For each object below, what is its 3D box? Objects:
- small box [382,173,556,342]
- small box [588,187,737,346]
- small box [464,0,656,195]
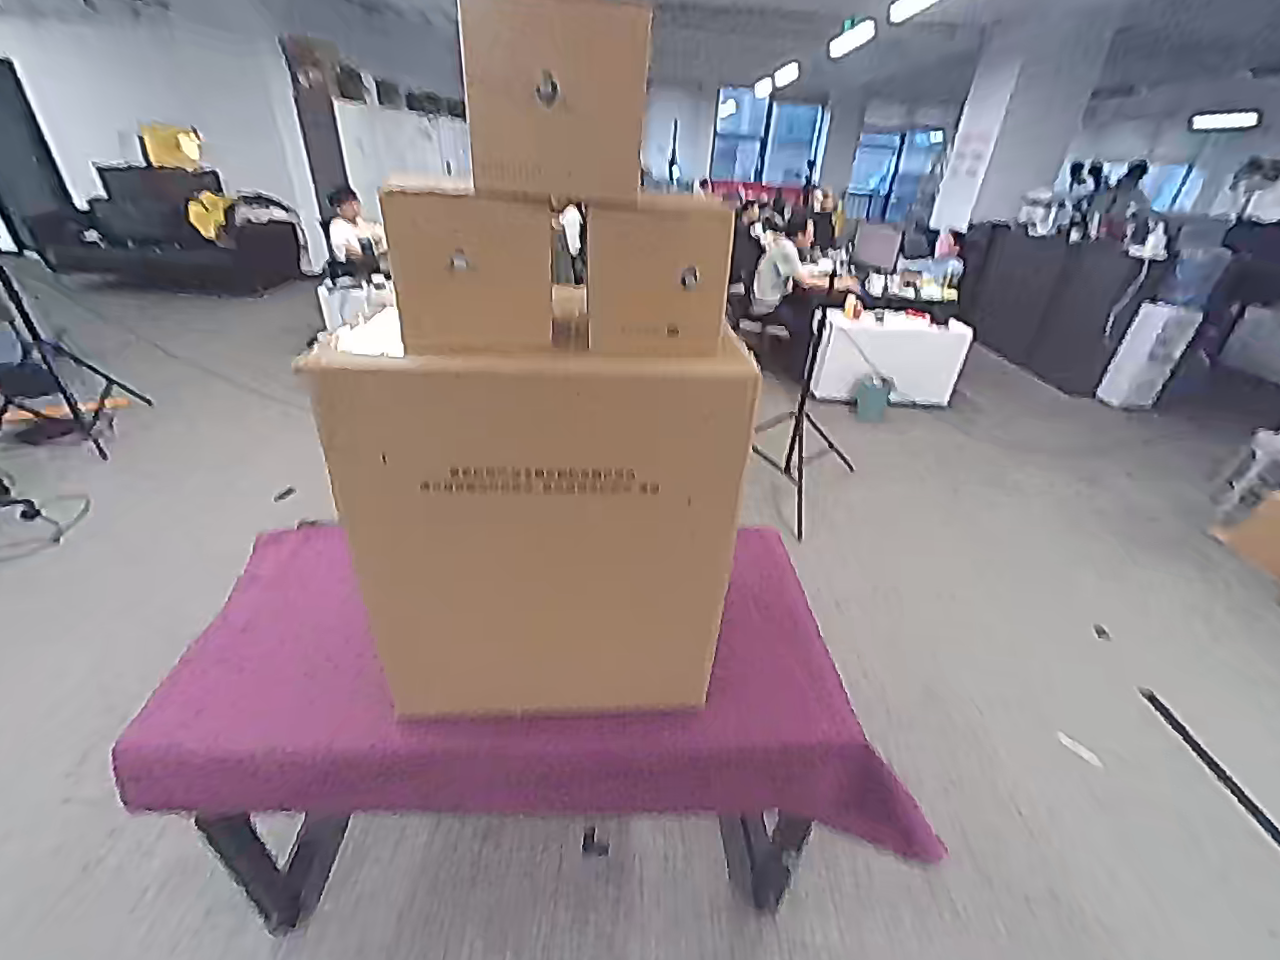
[{"bbox_3d":[-0.204,-0.274,0.667,0.179,0.176,0.168,-6,34,-18],"label":"small box"},{"bbox_3d":[0.018,-0.278,0.699,0.168,0.176,0.179,1,31,-6],"label":"small box"},{"bbox_3d":[-0.079,-0.413,0.592,0.179,0.176,0.168,2,32,-3],"label":"small box"}]
